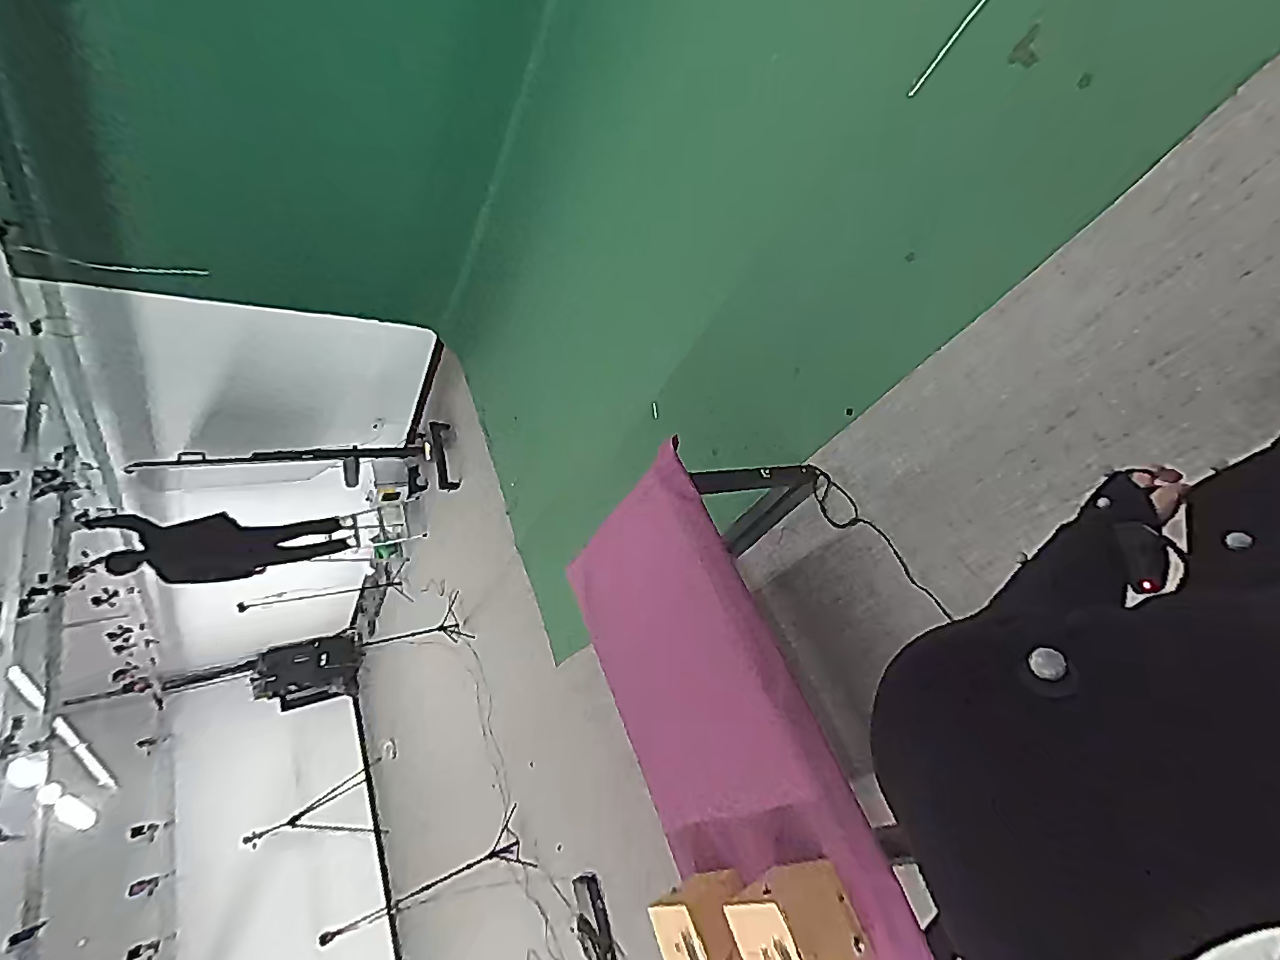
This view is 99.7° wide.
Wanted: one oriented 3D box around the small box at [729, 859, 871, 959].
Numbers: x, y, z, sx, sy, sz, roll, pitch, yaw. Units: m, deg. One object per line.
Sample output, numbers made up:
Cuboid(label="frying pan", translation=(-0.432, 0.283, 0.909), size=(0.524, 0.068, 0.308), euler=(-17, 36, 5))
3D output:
Cuboid(label="small box", translation=(0.313, 0.862, 1.043), size=(0.179, 0.176, 0.168), euler=(-51, 55, 43))
